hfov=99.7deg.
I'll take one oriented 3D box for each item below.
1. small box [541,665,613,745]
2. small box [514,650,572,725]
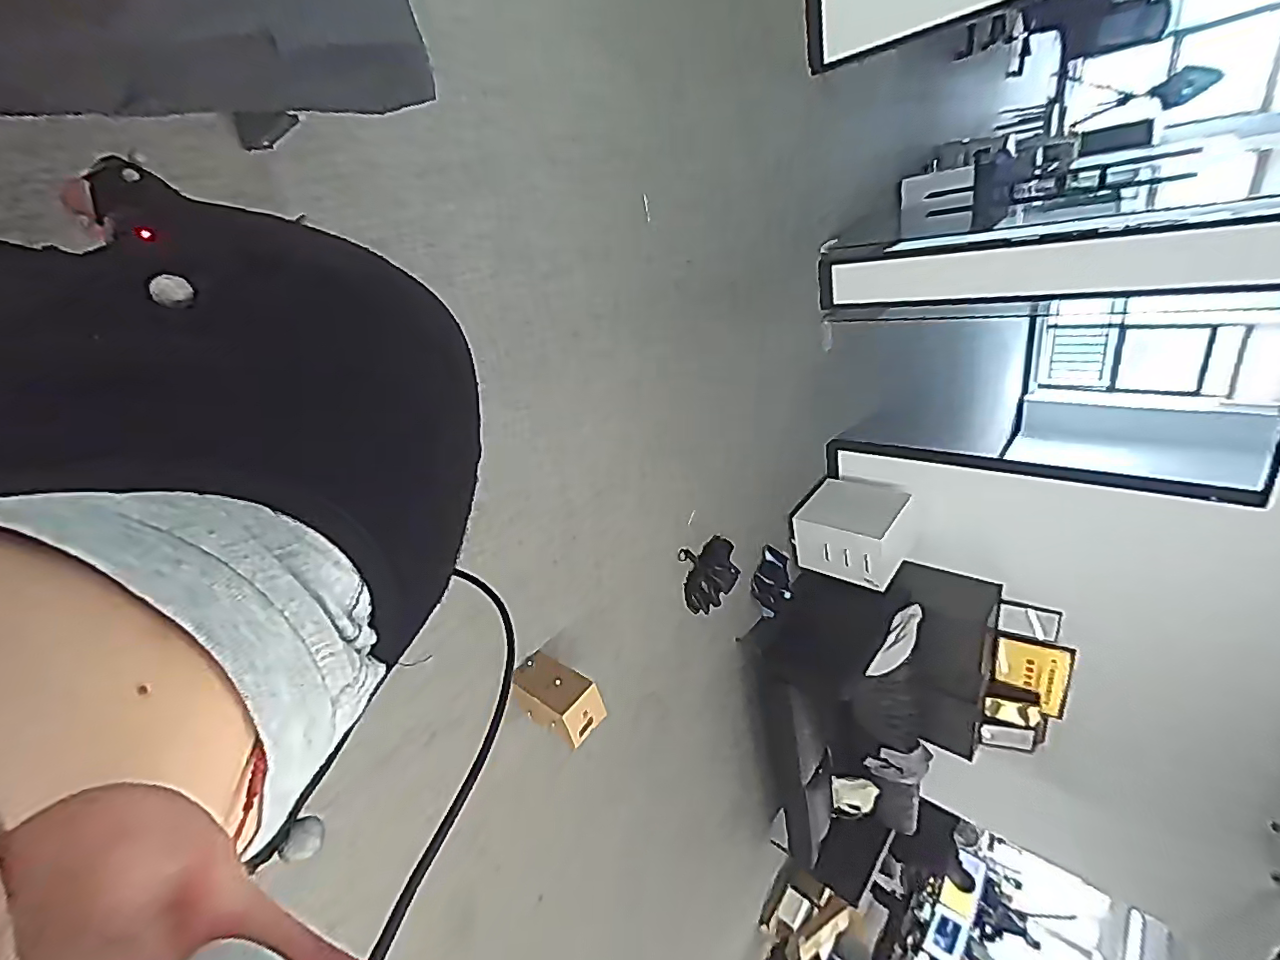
[{"bbox_3d":[-0.228,0.805,1.954,0.168,0.176,0.179,-39,125,-36],"label":"small box"},{"bbox_3d":[-0.348,0.785,2.065,0.168,0.176,0.179,-39,124,-36],"label":"small box"}]
